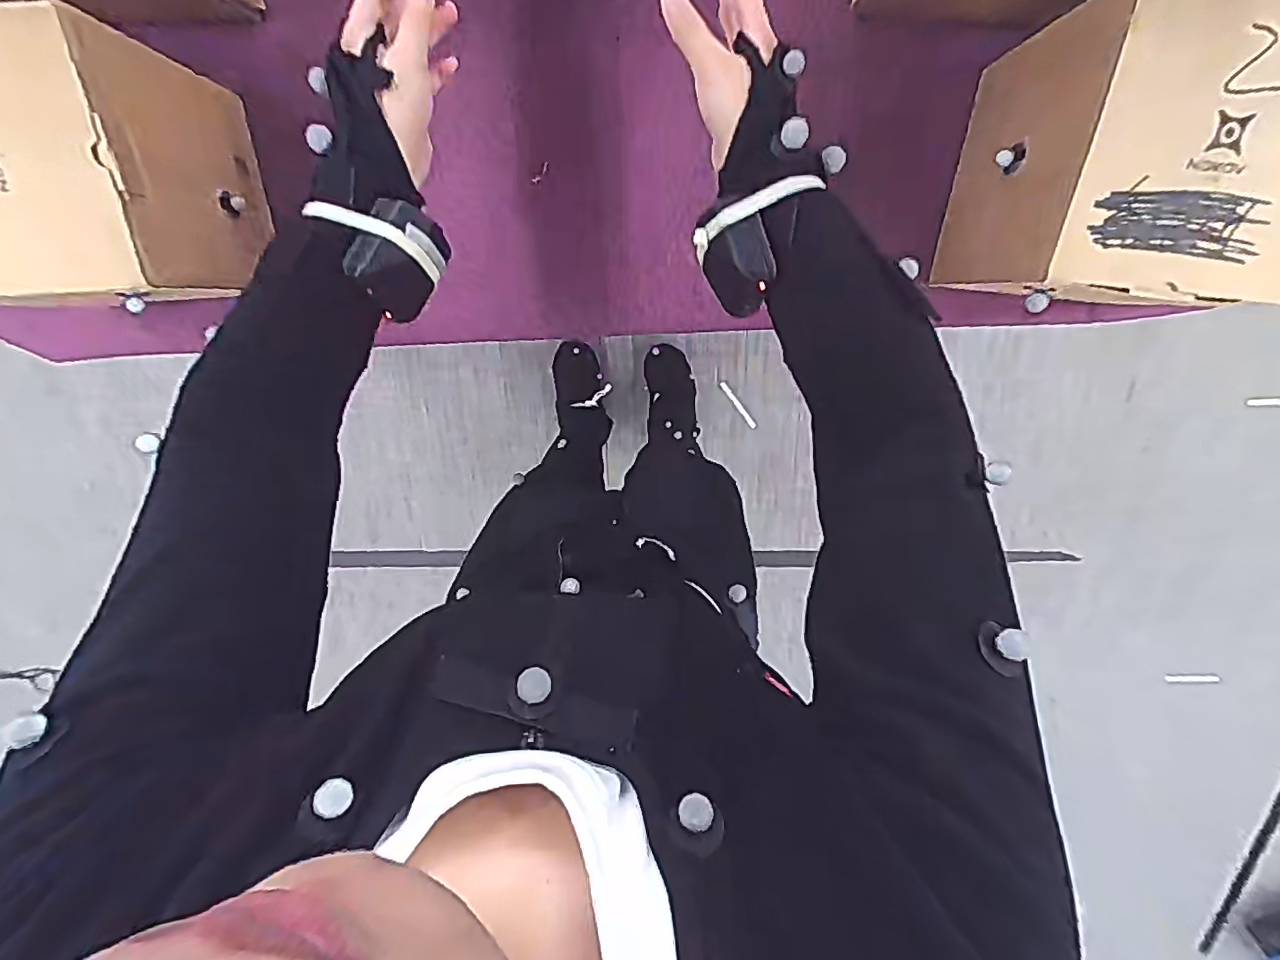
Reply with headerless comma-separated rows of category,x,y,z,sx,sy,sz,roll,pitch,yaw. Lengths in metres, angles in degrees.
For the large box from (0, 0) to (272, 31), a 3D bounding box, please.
large box,-0.470,-0.523,0.260,0.320,0.320,0.408,-2,112,0
